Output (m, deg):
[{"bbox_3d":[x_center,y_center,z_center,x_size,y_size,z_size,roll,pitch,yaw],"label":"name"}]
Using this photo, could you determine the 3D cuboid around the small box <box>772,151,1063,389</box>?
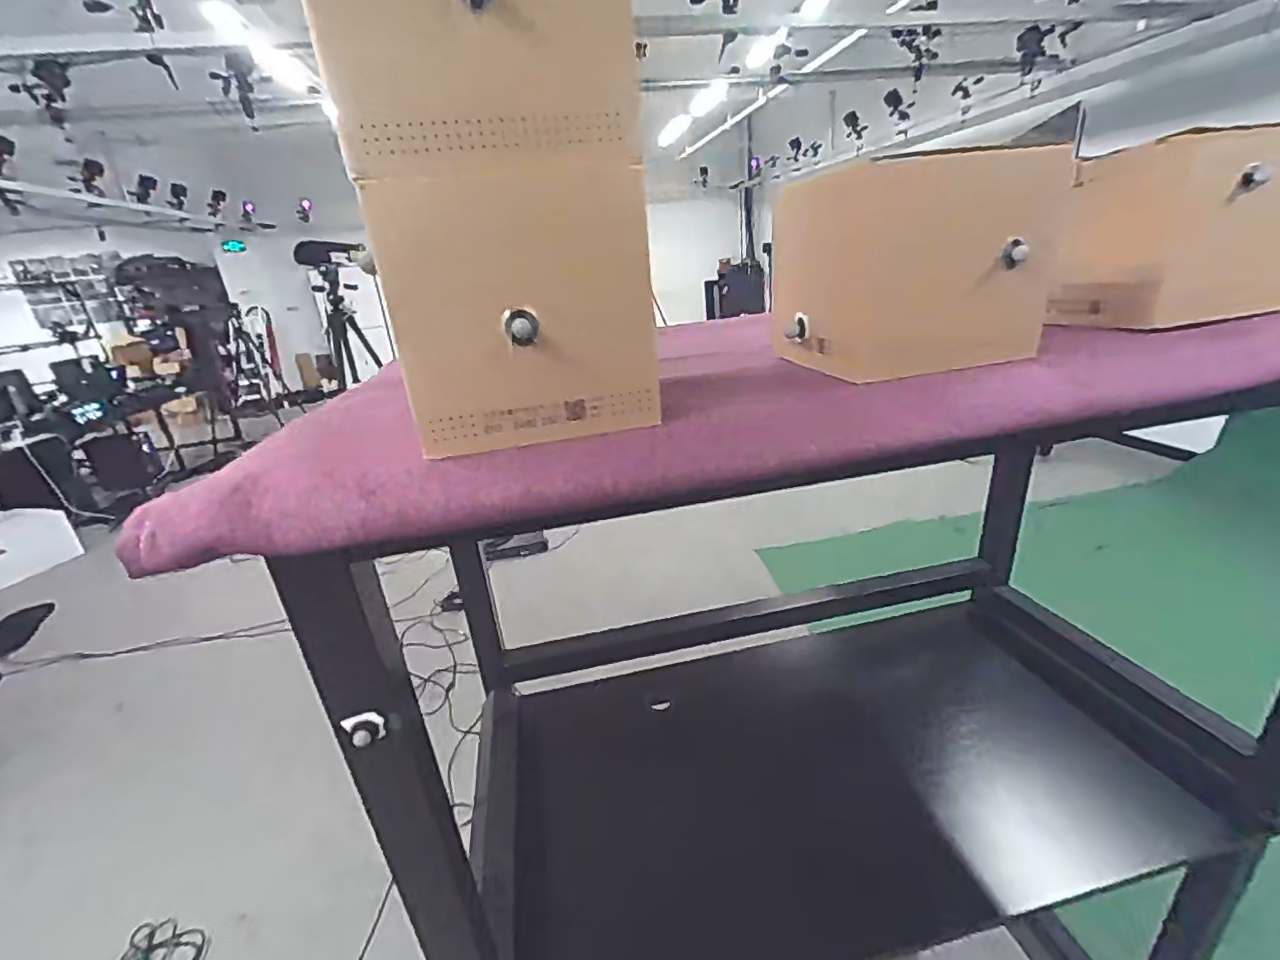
[{"bbox_3d":[0.237,-0.192,0.507,0.179,0.176,0.168,-11,22,-9],"label":"small box"}]

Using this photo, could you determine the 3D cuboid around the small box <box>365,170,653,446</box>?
[{"bbox_3d":[-0.091,-0.130,0.425,0.168,0.176,0.179,-9,22,-11],"label":"small box"}]

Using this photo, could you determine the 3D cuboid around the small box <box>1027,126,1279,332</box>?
[{"bbox_3d":[0.546,-0.255,0.579,0.179,0.176,0.168,-9,20,-7],"label":"small box"}]
